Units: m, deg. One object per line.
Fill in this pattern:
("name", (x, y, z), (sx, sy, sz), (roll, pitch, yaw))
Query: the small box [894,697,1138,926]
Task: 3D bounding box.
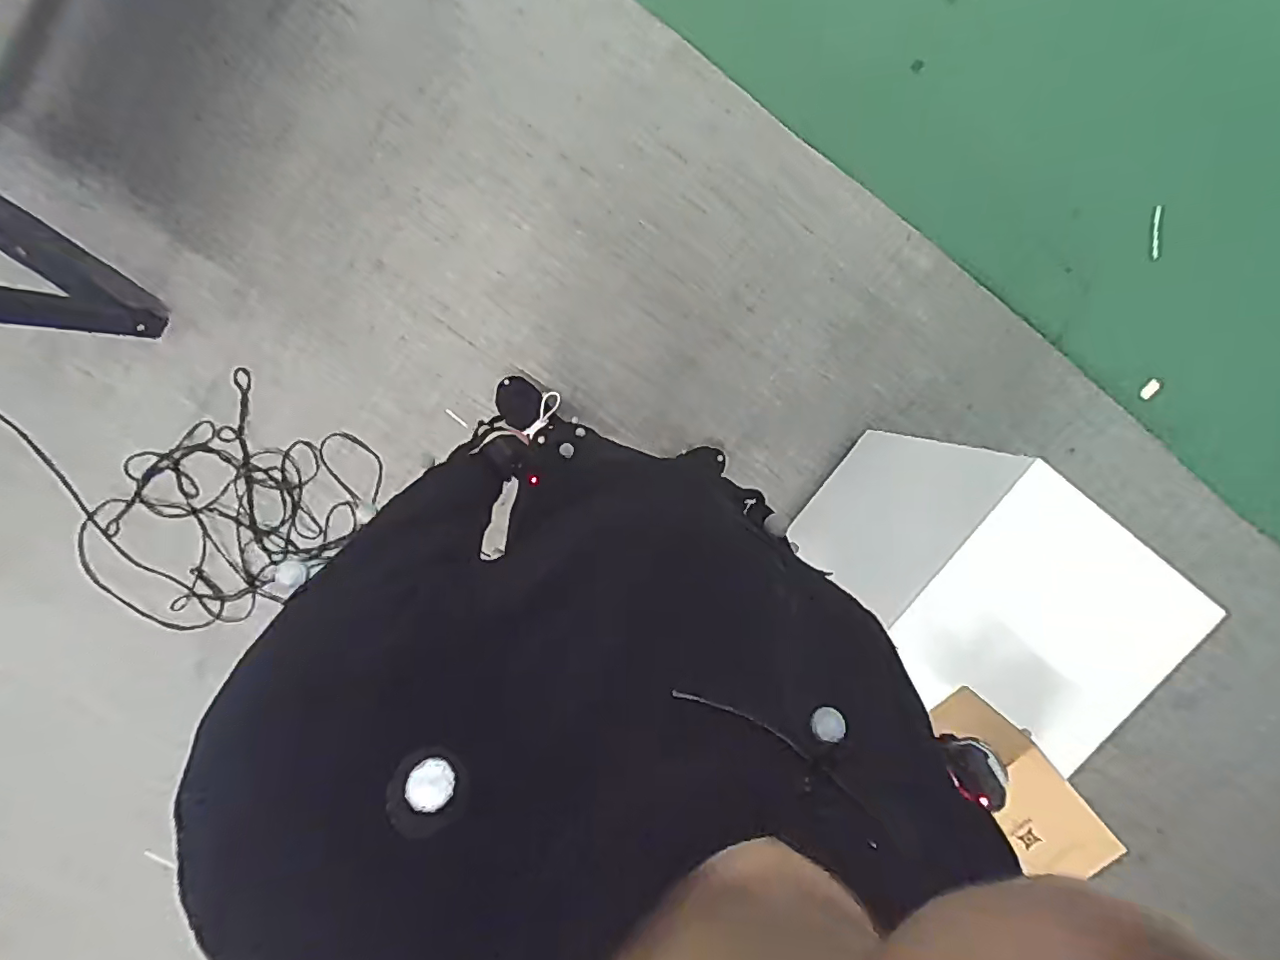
("small box", (0.488, 0.427, 0.736), (0.168, 0.176, 0.179), (-43, 91, 6))
